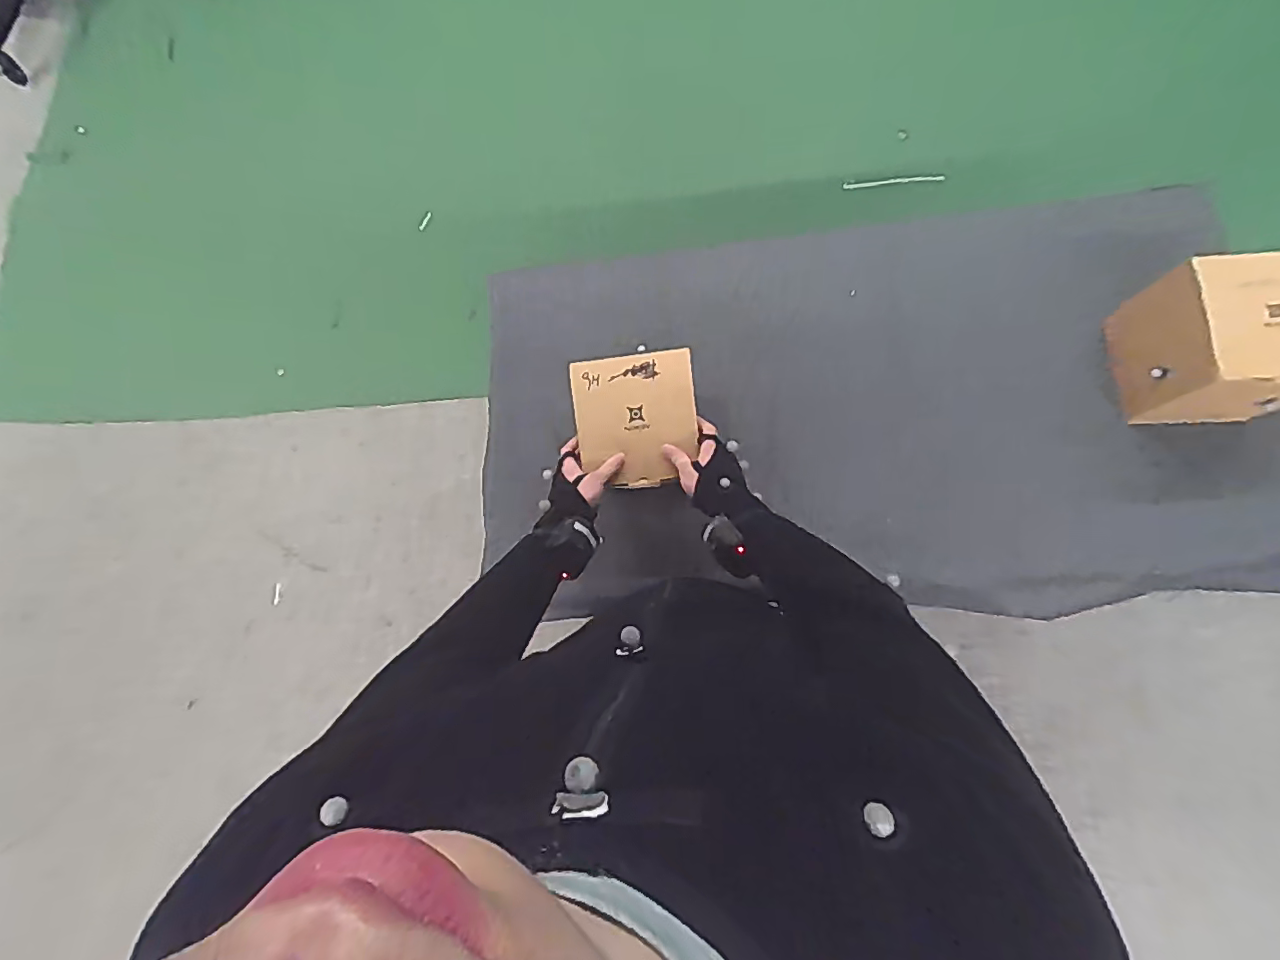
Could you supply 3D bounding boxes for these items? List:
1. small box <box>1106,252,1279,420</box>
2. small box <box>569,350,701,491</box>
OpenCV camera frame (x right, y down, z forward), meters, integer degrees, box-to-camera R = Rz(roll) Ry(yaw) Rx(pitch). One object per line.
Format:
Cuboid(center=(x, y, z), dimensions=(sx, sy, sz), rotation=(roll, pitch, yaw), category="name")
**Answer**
Cuboid(center=(0.803, -0.187, 0.748), dimensions=(0.168, 0.176, 0.179), rotation=(-1, 75, 6), category="small box")
Cuboid(center=(0.001, -0.087, 0.802), dimensions=(0.168, 0.176, 0.179), rotation=(-7, 95, 5), category="small box")
